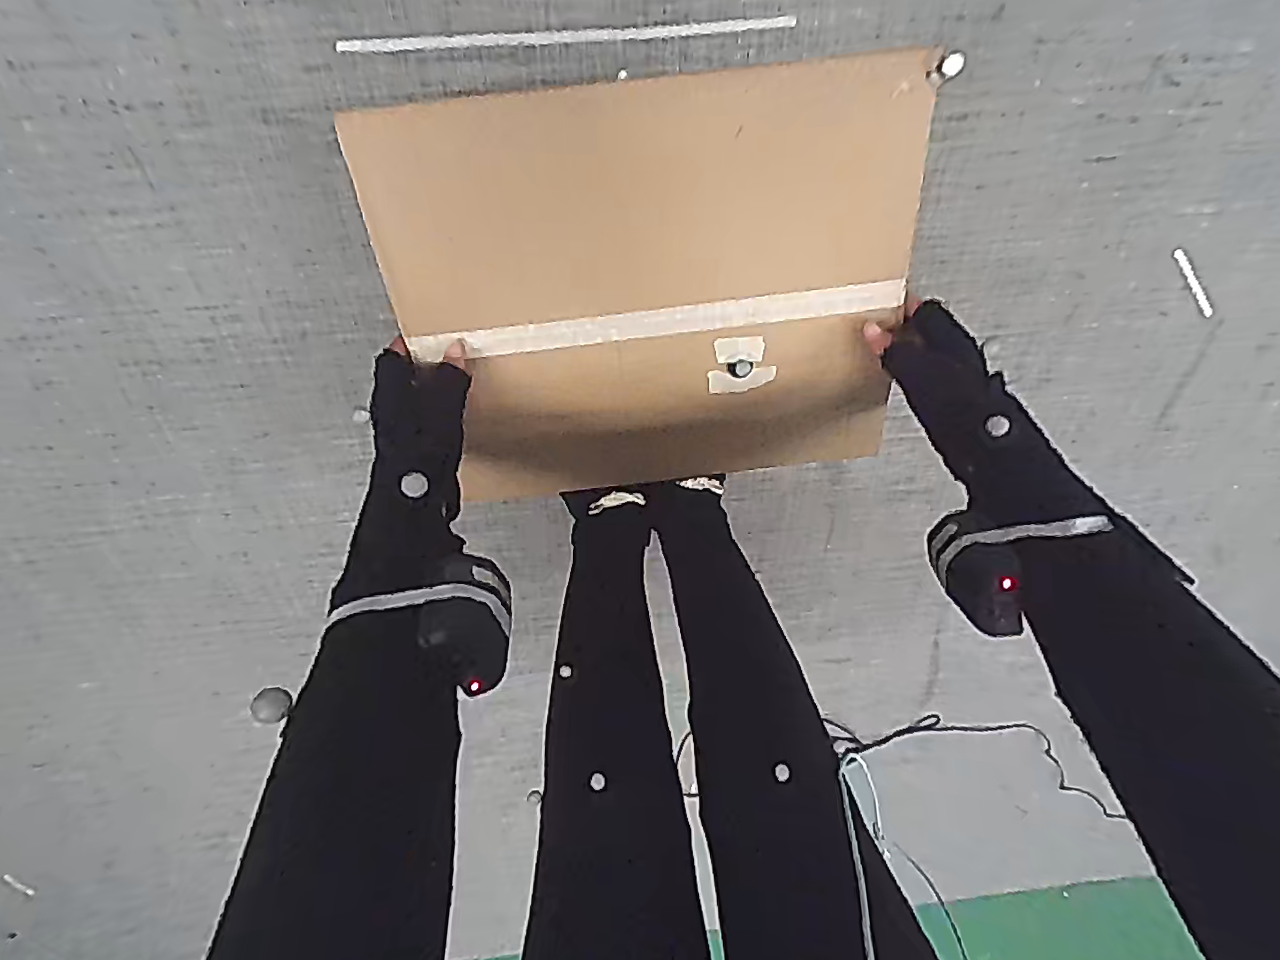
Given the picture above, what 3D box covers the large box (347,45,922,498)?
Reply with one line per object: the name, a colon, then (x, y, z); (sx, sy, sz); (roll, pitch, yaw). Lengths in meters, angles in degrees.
large box: (0.000, -0.214, 0.568); (0.408, 0.320, 0.320); (-7, 123, -1)
